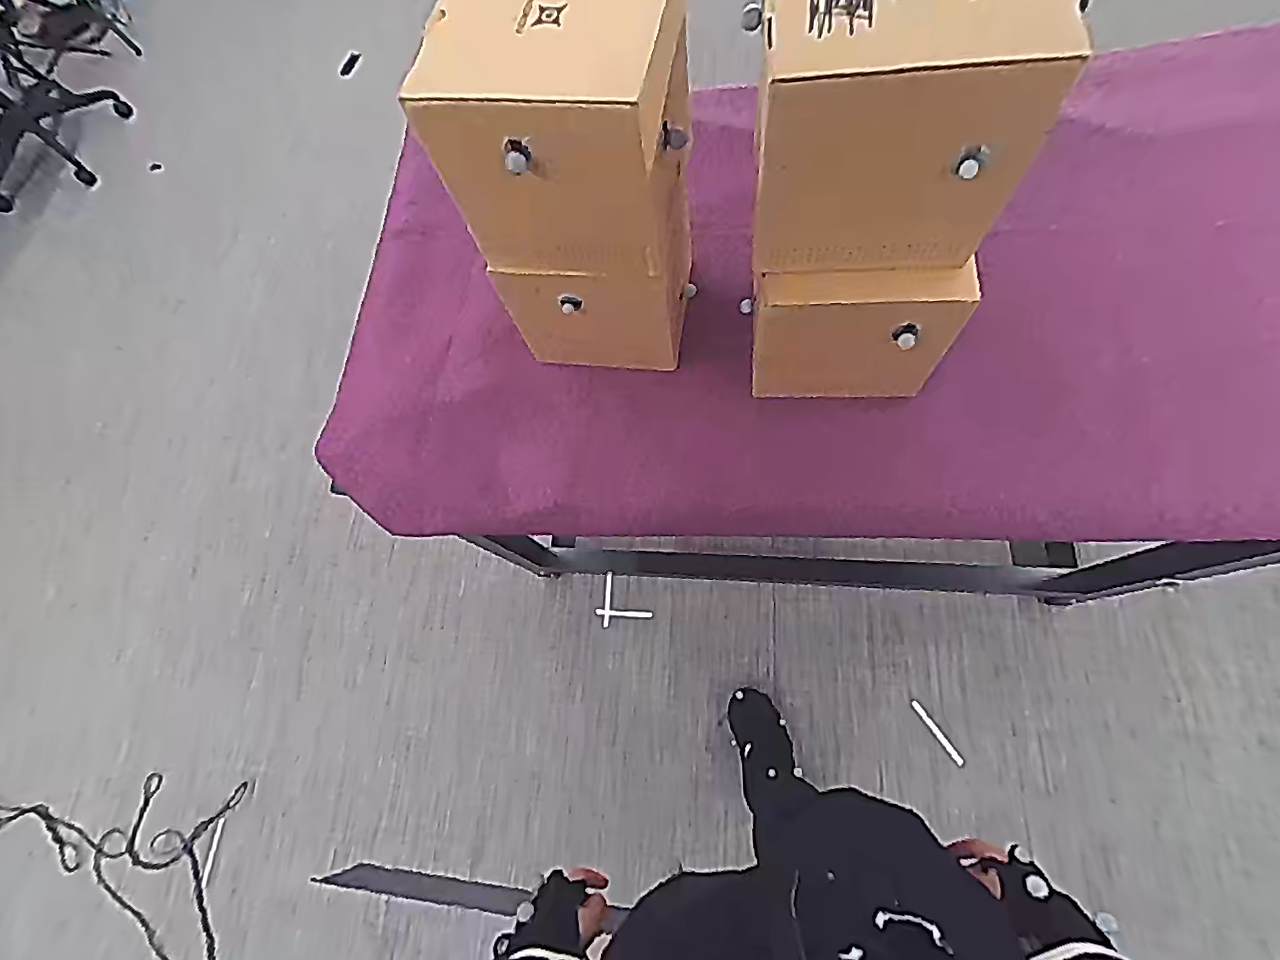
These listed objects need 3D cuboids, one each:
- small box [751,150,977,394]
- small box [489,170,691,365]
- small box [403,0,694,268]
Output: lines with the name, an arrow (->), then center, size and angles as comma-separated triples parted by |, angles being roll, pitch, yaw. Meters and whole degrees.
small box -> 0.209, -0.200, 0.554 | 0.179, 0.176, 0.168 | 2, 70, 10
small box -> -0.041, -0.245, 0.608 | 0.179, 0.176, 0.168 | 6, 72, 9
small box -> -0.054, -0.302, 0.456 | 0.179, 0.176, 0.168 | 9, 72, 12
